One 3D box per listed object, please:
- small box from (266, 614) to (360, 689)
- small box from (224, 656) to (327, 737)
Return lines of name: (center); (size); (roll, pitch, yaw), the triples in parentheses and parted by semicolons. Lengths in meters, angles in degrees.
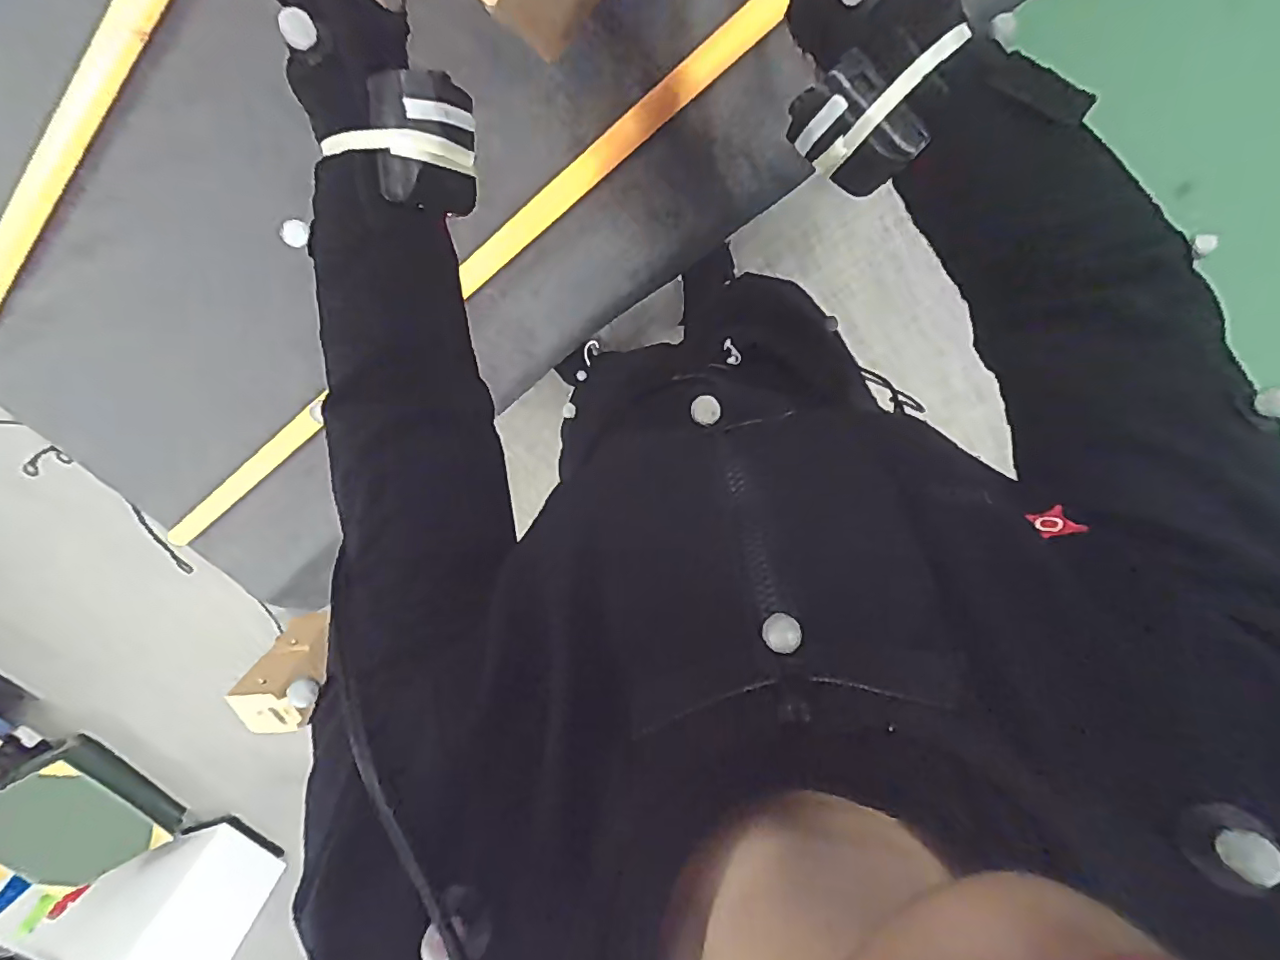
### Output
small box: (-1.076, 0.575, 1.797); (0.168, 0.176, 0.179); (-12, 116, 12)
small box: (-1.100, 0.658, 1.656); (0.179, 0.176, 0.168); (-7, 116, 11)
